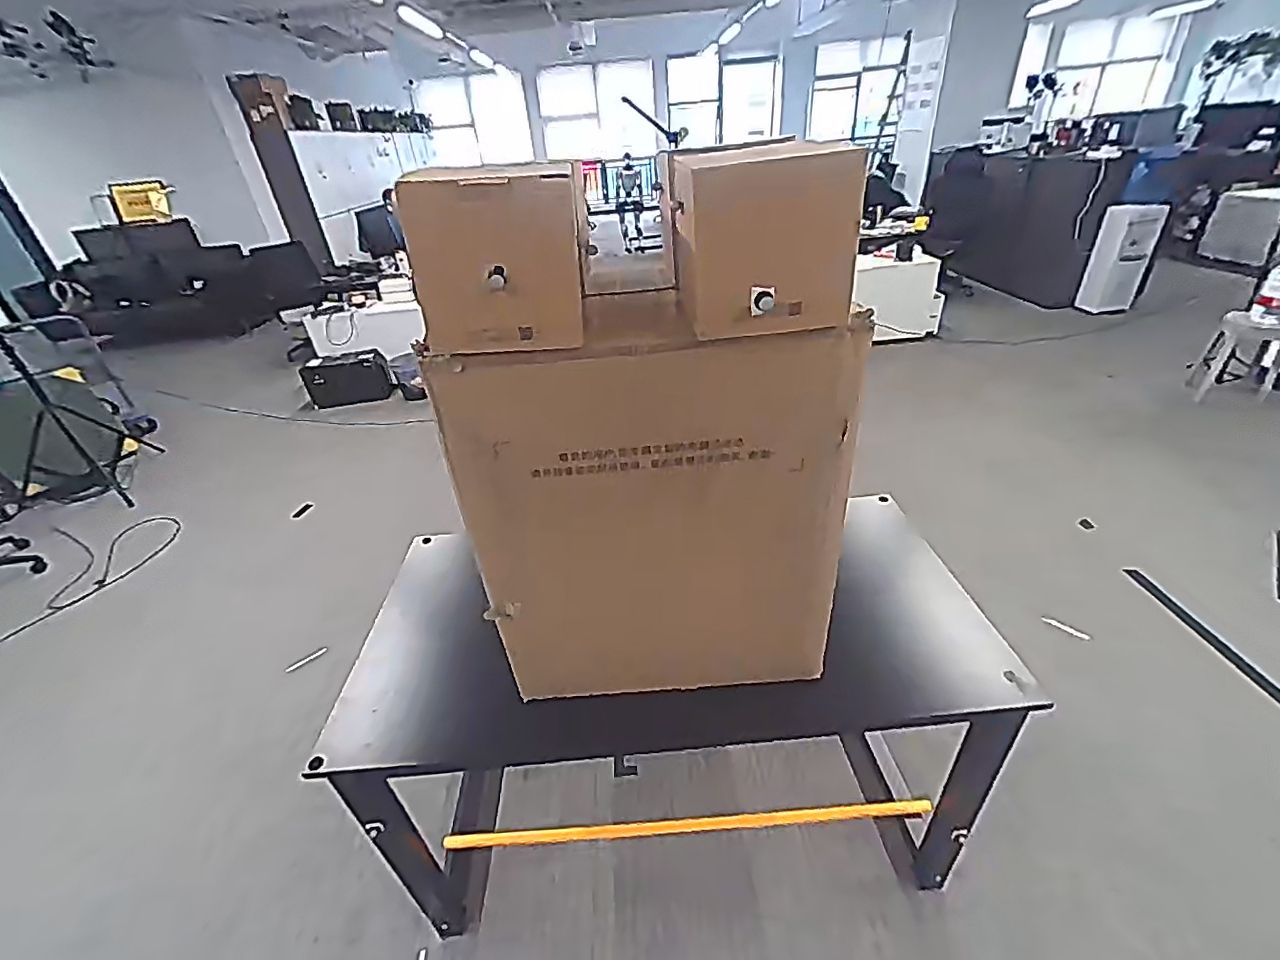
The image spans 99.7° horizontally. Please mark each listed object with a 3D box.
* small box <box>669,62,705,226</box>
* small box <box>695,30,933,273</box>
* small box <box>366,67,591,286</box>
[{"bbox_3d":[0.130,-0.435,0.710,0.168,0.176,0.179,-7,30,0],"label":"small box"},{"bbox_3d":[0.147,-0.312,0.527,0.168,0.176,0.179,-8,35,1],"label":"small box"},{"bbox_3d":[-0.137,-0.295,0.530,0.168,0.176,0.179,-4,35,-6],"label":"small box"}]
